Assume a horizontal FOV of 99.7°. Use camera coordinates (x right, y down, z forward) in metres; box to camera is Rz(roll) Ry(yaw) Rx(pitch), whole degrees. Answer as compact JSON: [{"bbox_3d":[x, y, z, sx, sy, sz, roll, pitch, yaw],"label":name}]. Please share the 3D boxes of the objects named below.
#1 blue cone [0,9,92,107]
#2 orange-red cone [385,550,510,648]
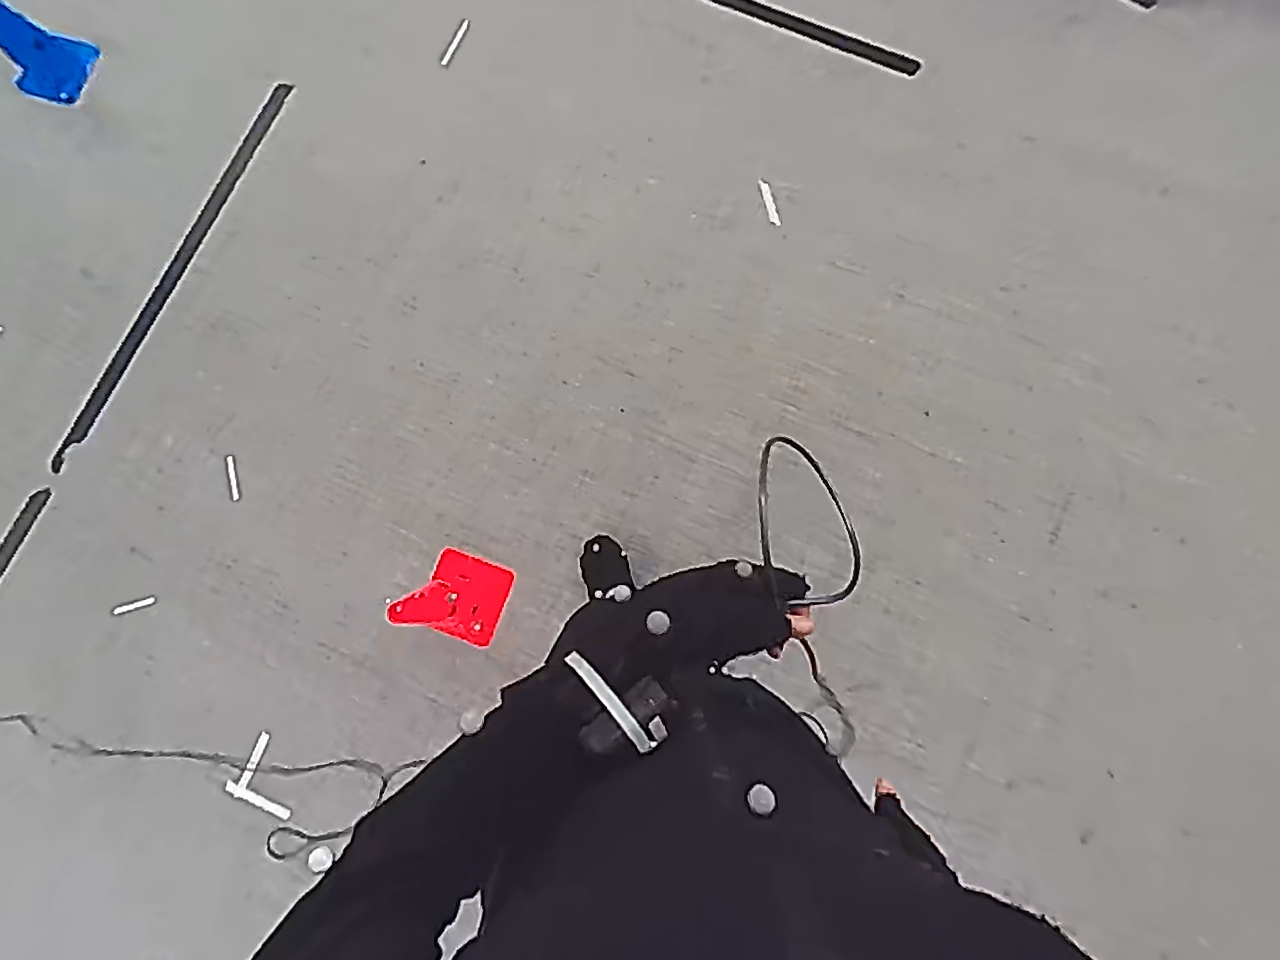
[{"bbox_3d":[-1.711,-1.204,1.406,0.192,0.380,0.193,19,84,5],"label":"blue cone"},{"bbox_3d":[-0.443,0.267,1.158,0.198,0.360,0.199,20,83,4],"label":"orange-red cone"}]
